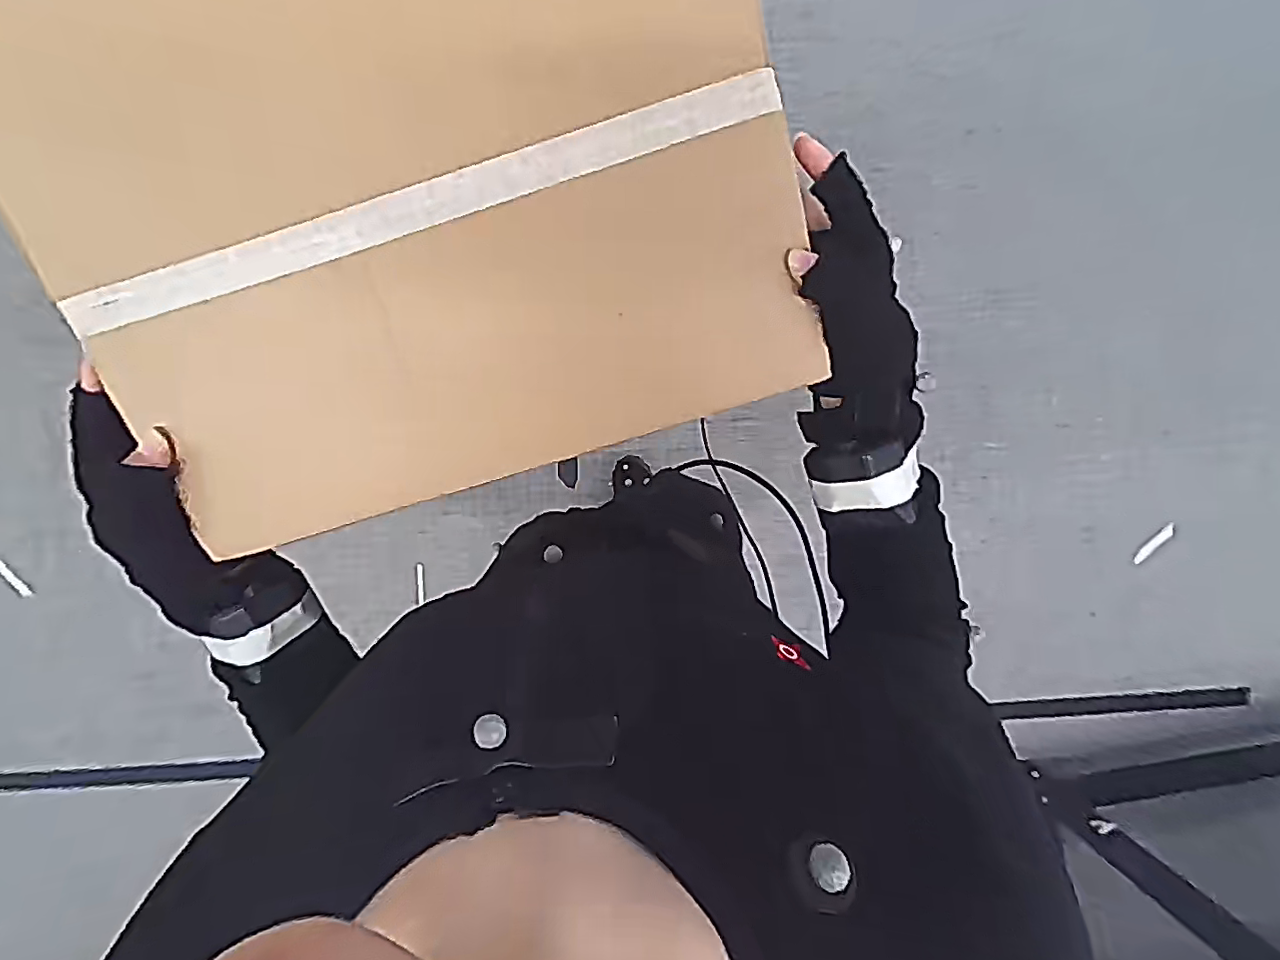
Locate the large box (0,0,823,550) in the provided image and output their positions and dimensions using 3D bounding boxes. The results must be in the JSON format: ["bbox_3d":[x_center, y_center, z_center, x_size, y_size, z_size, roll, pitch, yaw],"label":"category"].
[{"bbox_3d":[-0.120,-0.192,0.446,0.408,0.320,0.320,-16,106,3],"label":"large box"}]
